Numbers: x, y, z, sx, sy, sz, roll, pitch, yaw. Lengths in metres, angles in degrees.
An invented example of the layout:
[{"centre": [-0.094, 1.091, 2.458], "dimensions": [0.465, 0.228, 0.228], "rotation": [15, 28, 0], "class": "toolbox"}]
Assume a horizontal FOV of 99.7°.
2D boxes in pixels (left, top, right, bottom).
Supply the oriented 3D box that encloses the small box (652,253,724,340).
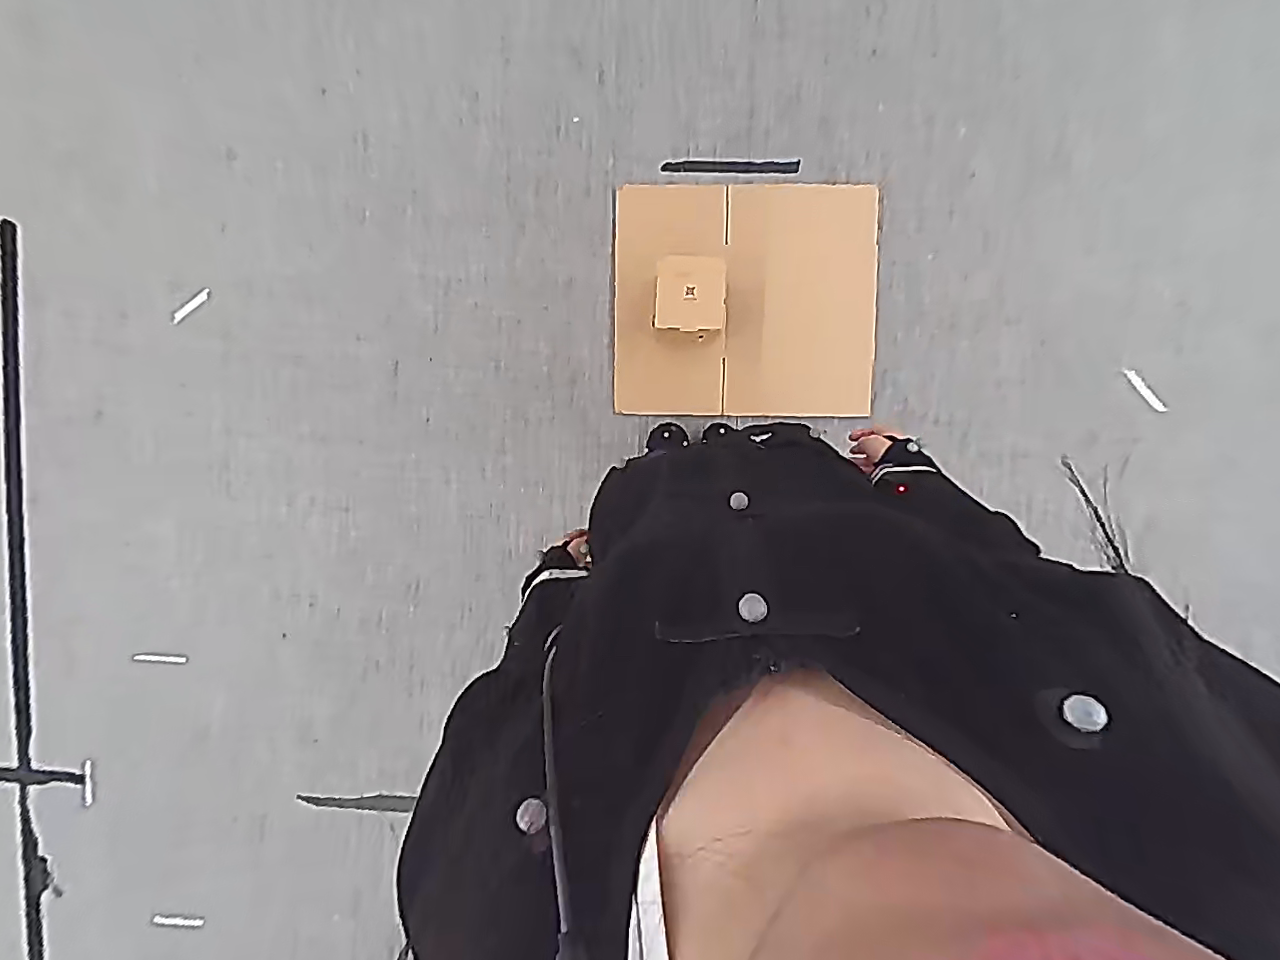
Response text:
[{"centre": [0.116, -0.458, 1.370], "dimensions": [0.168, 0.176, 0.179], "rotation": [2, 94, 0], "class": "small box"}]
